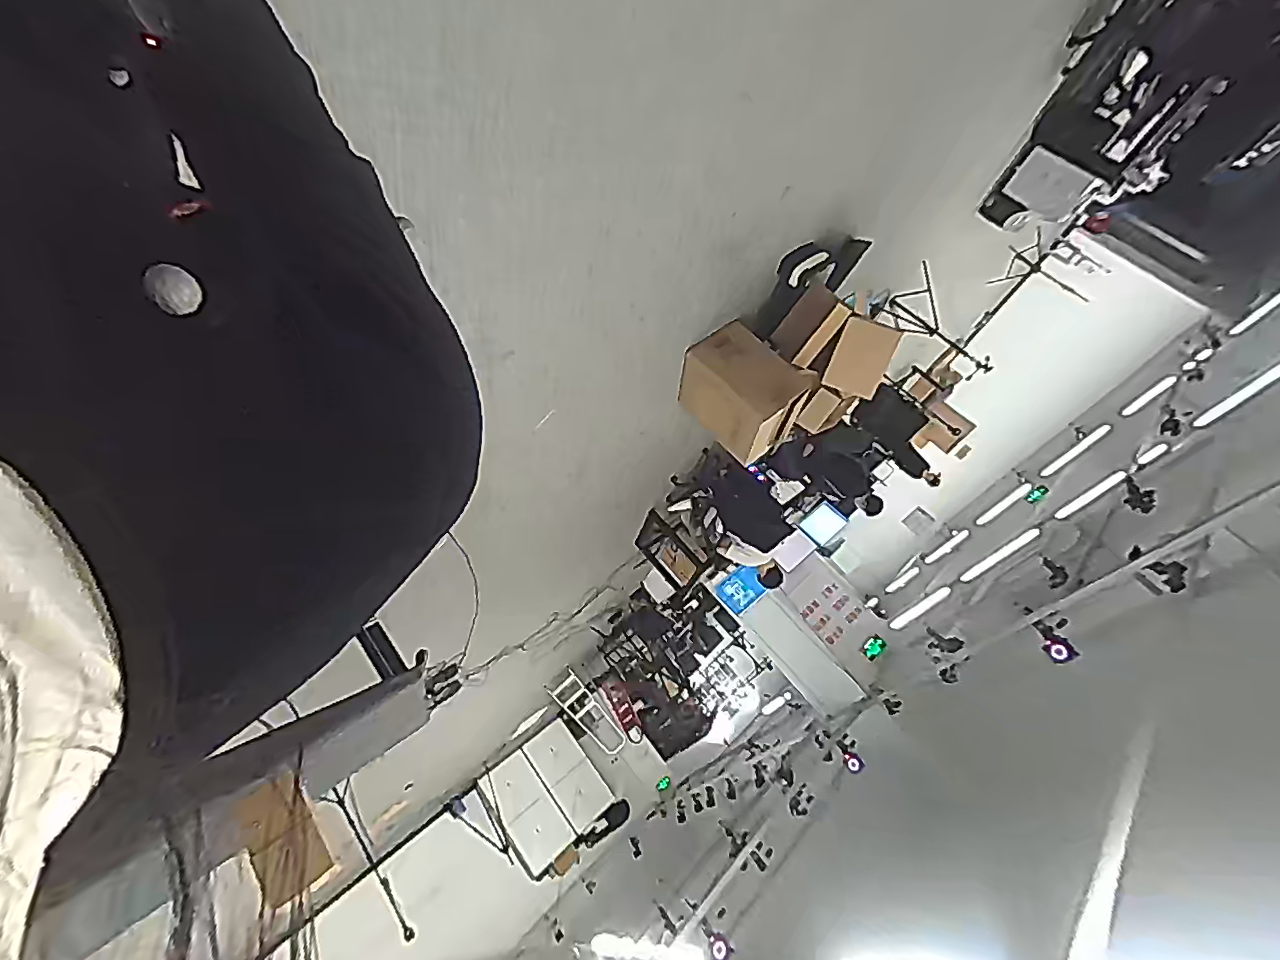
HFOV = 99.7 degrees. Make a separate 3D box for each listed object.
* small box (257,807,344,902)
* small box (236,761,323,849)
[{"bbox_3d":[-1.052,1.157,1.674,0.179,0.176,0.168,-27,157,-34],"label":"small box"},{"bbox_3d":[-1.155,1.043,1.731,0.179,0.176,0.168,-30,159,-34],"label":"small box"}]
